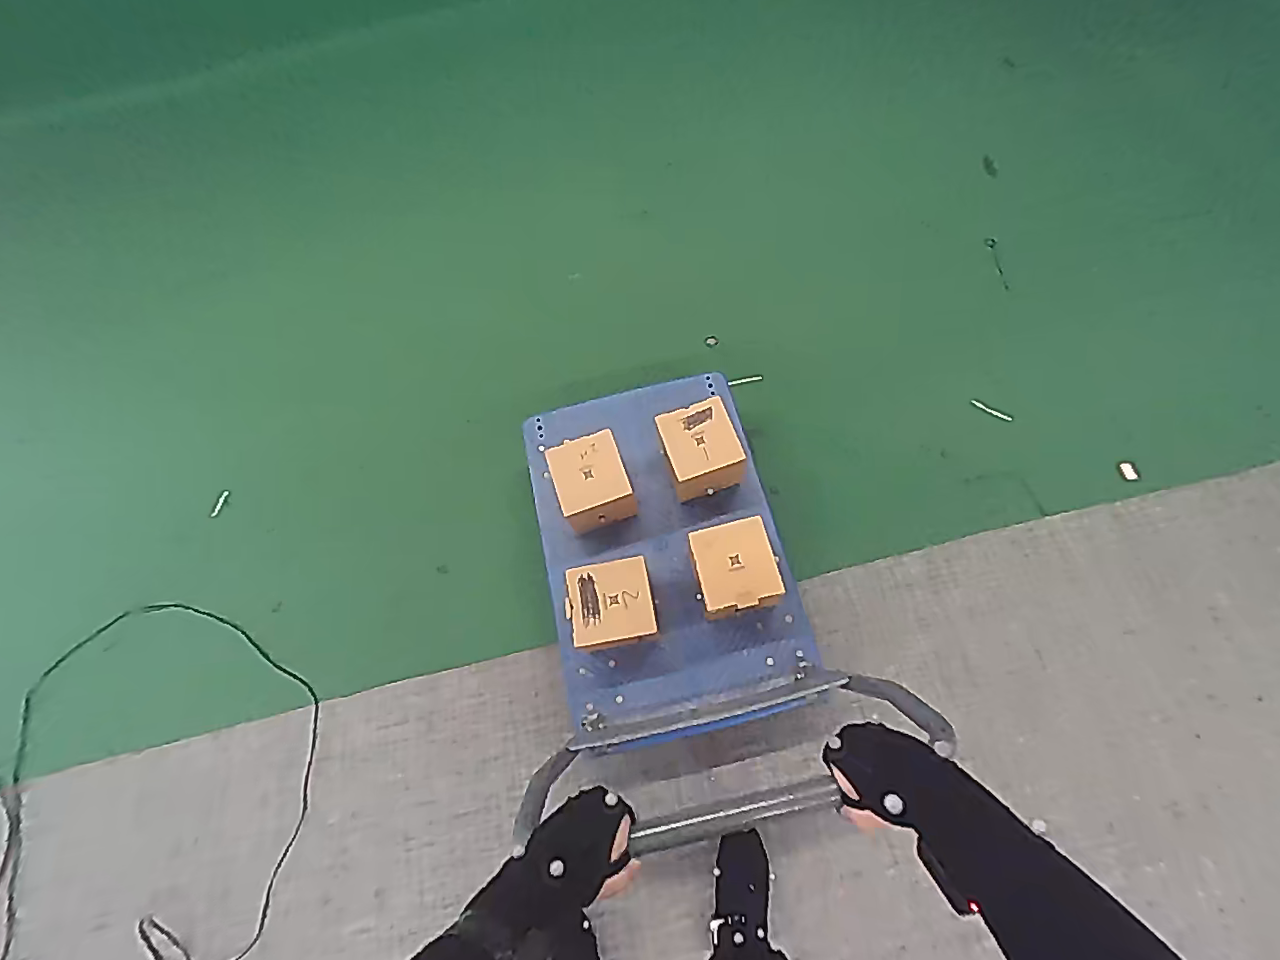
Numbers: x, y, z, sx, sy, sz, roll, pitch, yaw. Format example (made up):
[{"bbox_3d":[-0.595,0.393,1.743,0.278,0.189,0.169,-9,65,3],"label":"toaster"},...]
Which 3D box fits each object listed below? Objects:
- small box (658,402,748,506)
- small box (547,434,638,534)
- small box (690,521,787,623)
[{"bbox_3d":[0.148,-0.058,1.319,0.168,0.176,0.179,-19,70,-2],"label":"small box"},{"bbox_3d":[-0.109,0.020,1.310,0.168,0.176,0.179,-19,69,-3],"label":"small box"},{"bbox_3d":[0.211,0.212,1.215,0.168,0.176,0.179,-14,70,-1],"label":"small box"}]
